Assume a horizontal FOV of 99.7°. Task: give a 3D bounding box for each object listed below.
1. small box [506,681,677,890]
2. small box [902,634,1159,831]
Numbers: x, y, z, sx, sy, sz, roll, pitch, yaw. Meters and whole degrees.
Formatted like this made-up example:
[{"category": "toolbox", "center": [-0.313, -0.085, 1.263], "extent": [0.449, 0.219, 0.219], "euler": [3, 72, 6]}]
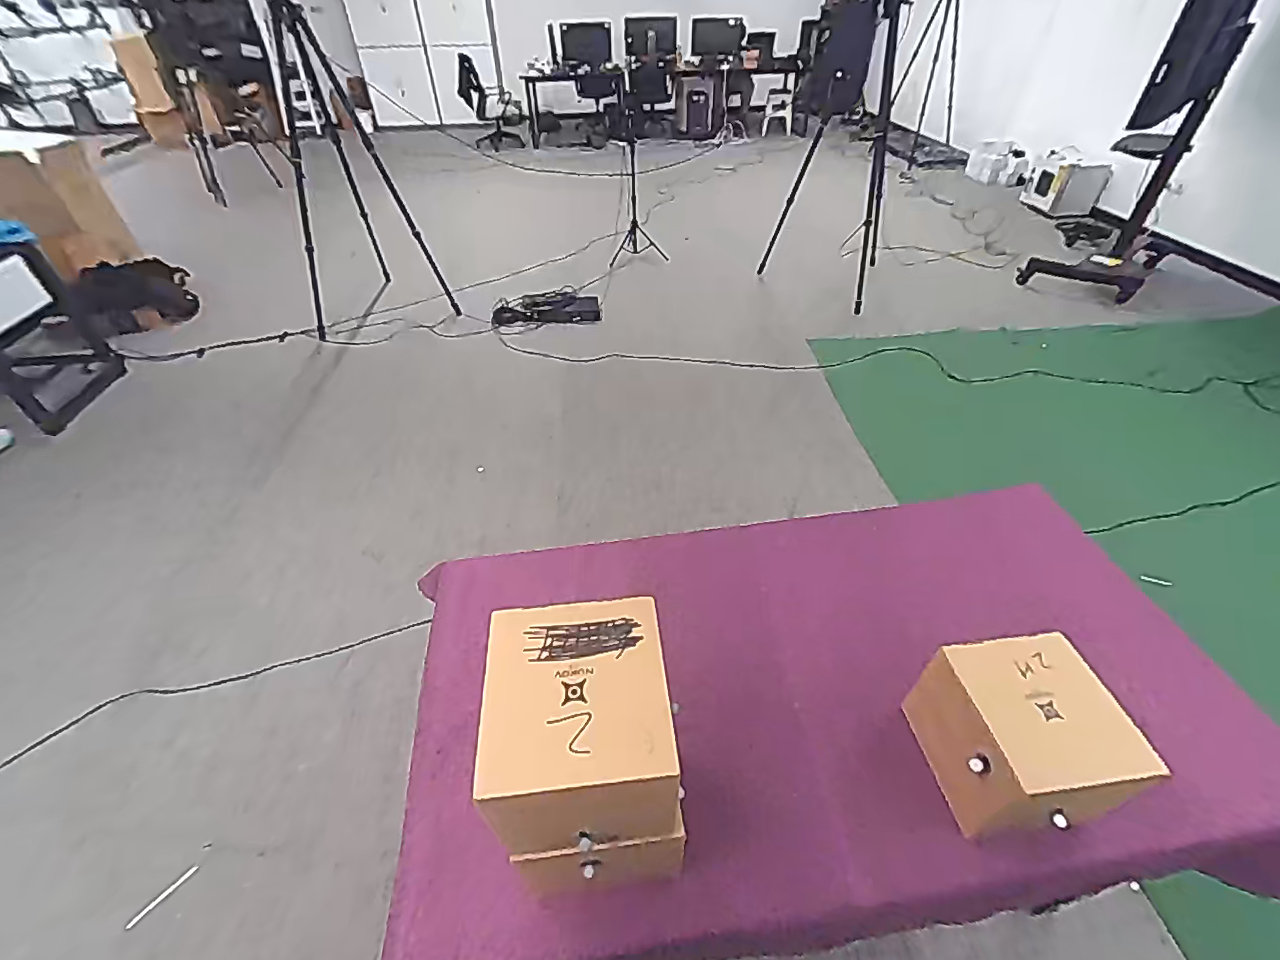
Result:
[{"category": "small box", "center": [-0.054, 0.368, 0.651], "extent": [0.179, 0.176, 0.168], "euler": [-5, 43, -5]}, {"category": "small box", "center": [0.467, 0.322, 0.685], "extent": [0.168, 0.176, 0.179], "euler": [-5, 42, -4]}]
